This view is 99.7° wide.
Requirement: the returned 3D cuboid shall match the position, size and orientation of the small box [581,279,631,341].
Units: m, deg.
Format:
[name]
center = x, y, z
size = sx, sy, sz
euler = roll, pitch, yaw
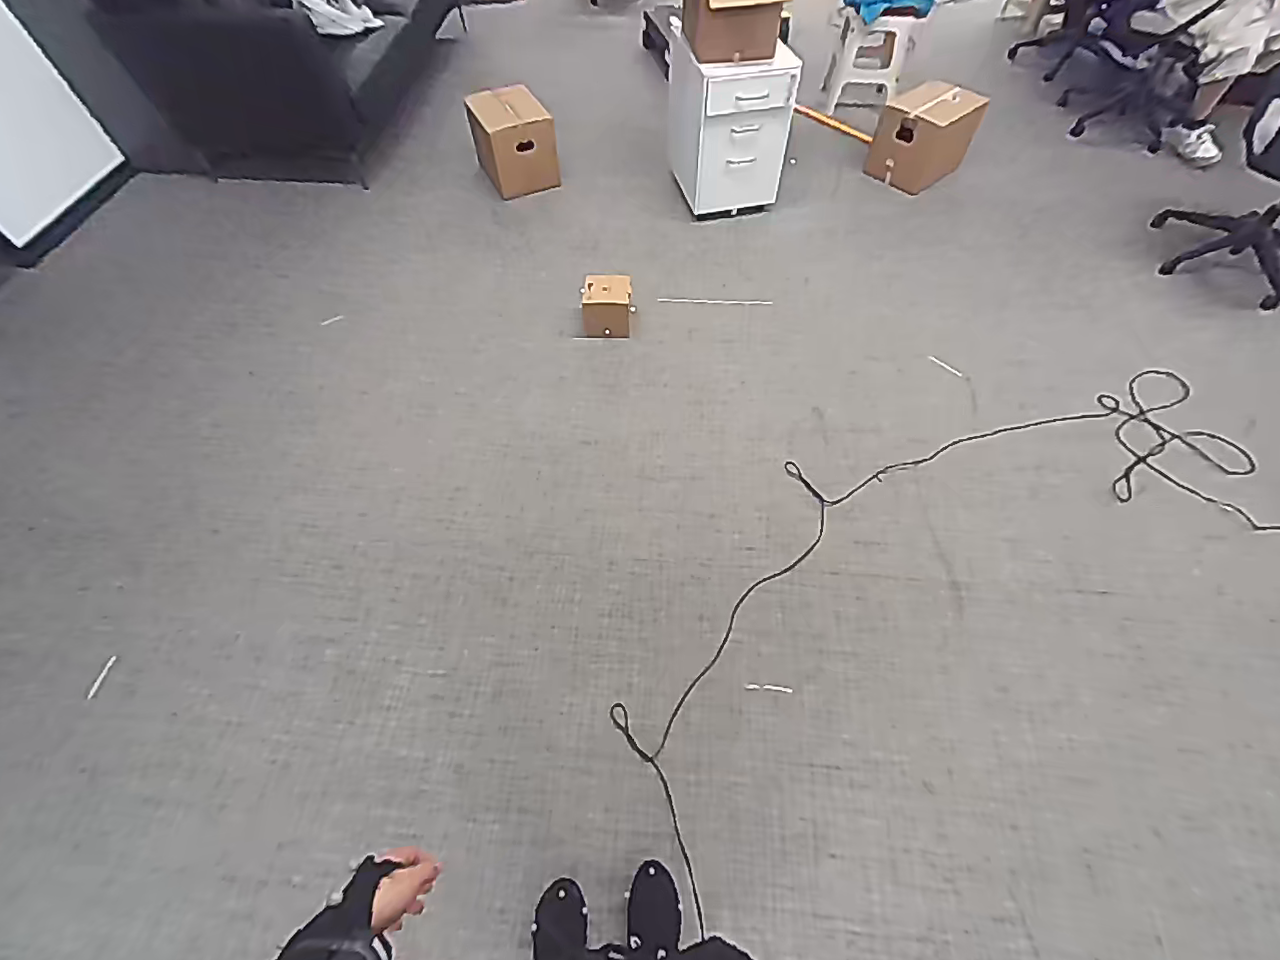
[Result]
[small box]
center = -0.128, -0.661, 2.108
size = 0.179, 0.176, 0.168
euler = 2, 56, 2
